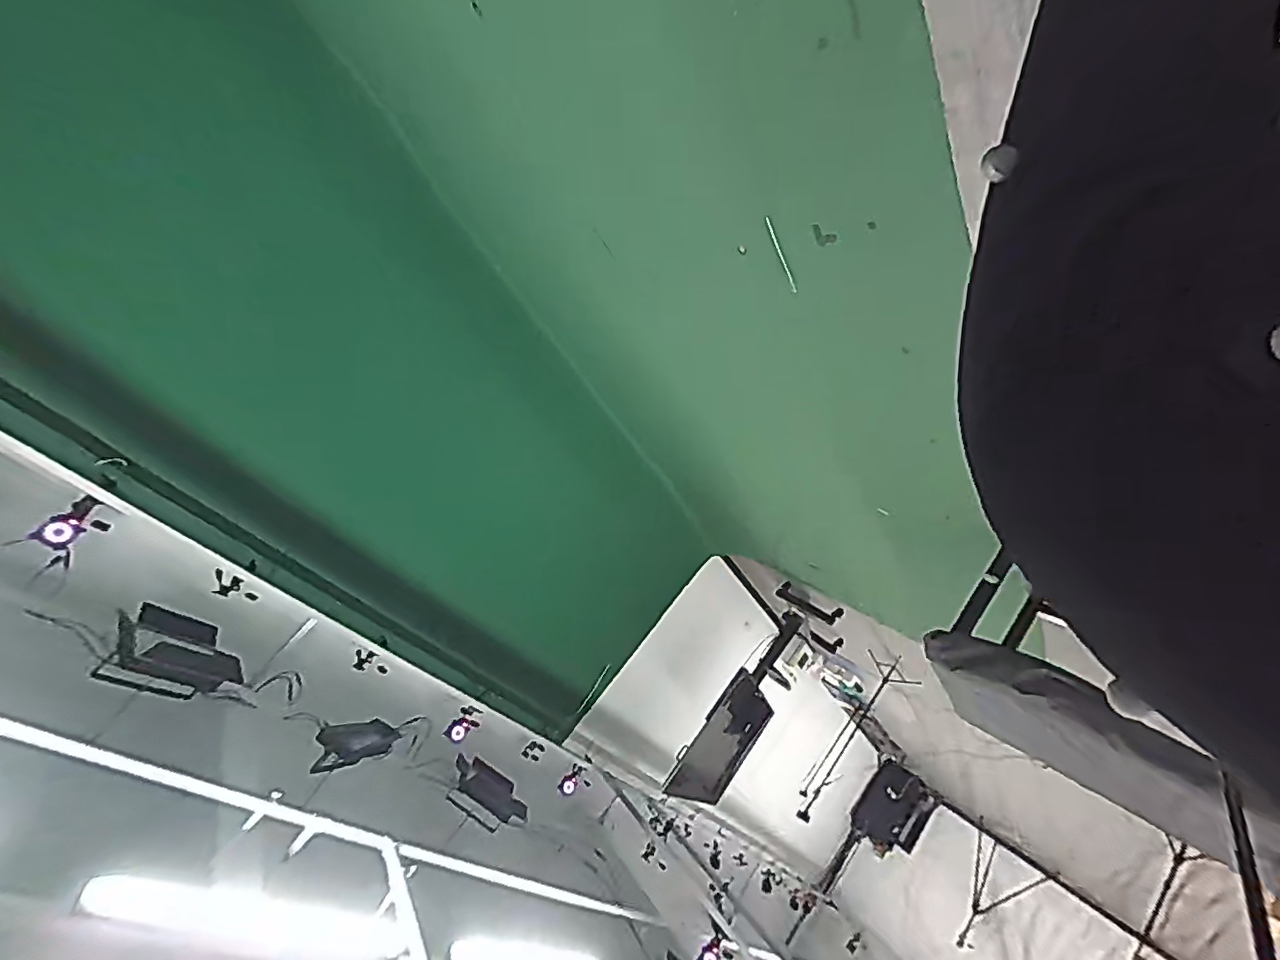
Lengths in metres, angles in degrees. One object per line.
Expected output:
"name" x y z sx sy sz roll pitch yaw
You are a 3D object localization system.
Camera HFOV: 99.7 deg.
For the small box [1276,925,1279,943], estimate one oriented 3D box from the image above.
"small box" 1.766 1.147 1.362 0.168 0.176 0.179 49 165 -31
